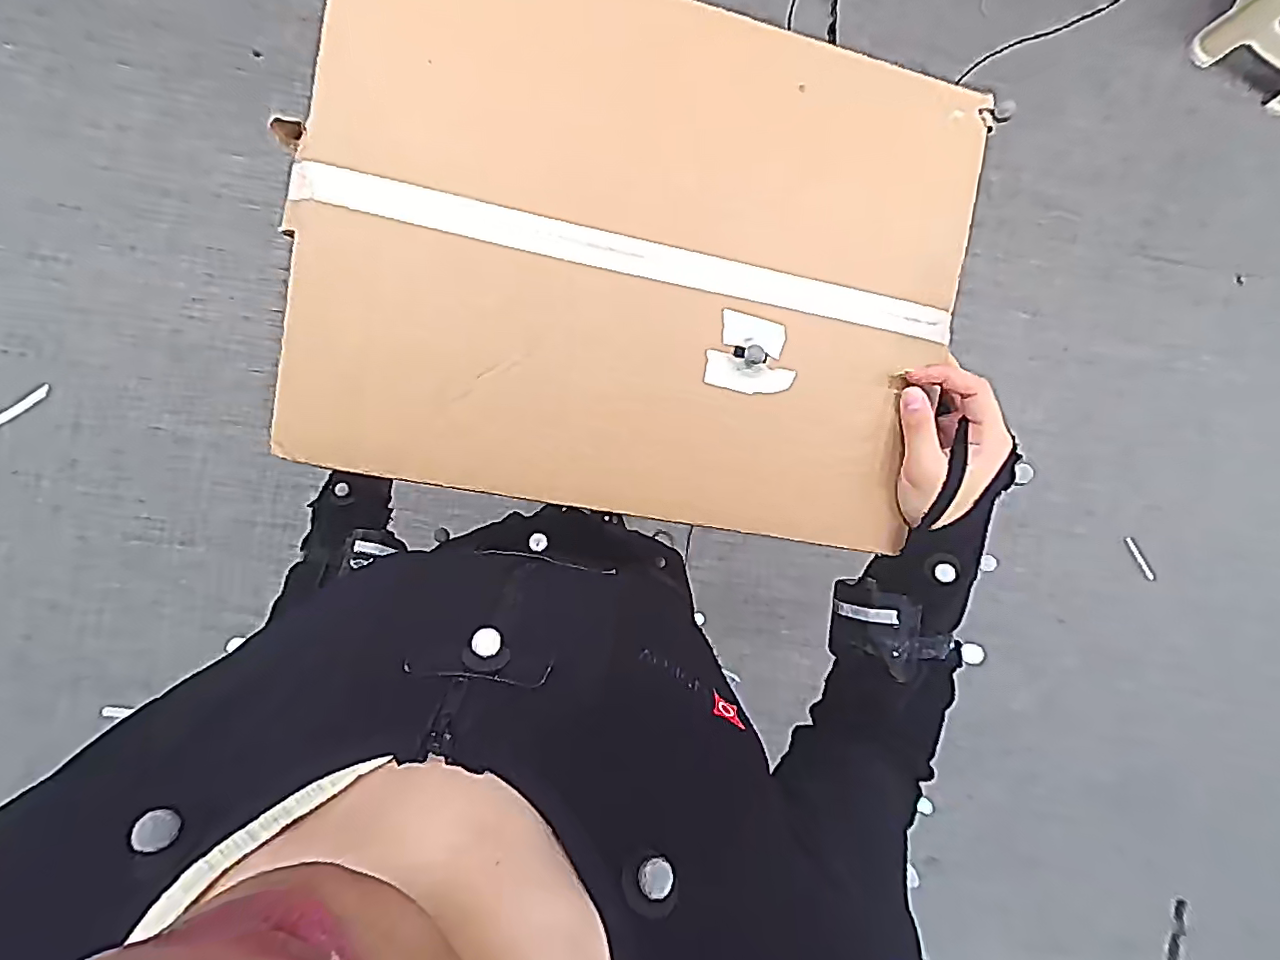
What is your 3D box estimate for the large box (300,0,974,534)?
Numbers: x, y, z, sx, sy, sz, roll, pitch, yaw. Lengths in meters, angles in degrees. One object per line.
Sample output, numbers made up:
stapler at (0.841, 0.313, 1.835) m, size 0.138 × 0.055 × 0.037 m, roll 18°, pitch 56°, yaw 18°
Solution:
large box at (-0.012, -0.150, 0.488) m, size 0.408 × 0.320 × 0.320 m, roll 9°, pitch 94°, yaw -11°
